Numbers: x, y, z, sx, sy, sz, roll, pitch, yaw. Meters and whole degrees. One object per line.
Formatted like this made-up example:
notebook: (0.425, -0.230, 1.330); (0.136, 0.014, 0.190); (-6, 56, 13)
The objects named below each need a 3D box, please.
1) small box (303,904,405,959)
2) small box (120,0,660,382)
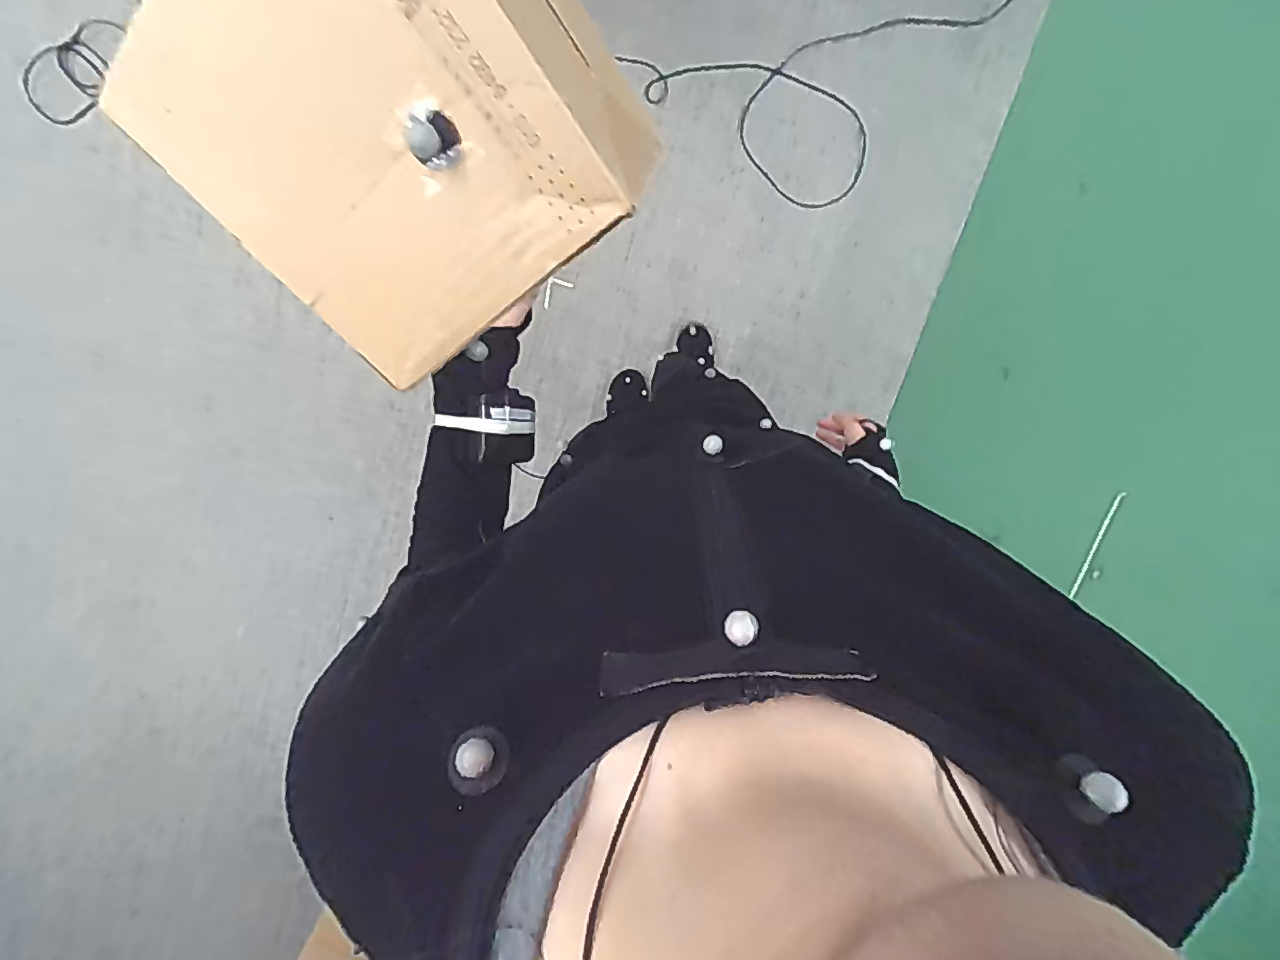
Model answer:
small box: (-0.618, 1.038, 1.129); (0.179, 0.176, 0.168); (20, 97, -8)
small box: (-0.102, -0.192, 0.296); (0.176, 0.179, 0.168); (-29, 118, 26)
